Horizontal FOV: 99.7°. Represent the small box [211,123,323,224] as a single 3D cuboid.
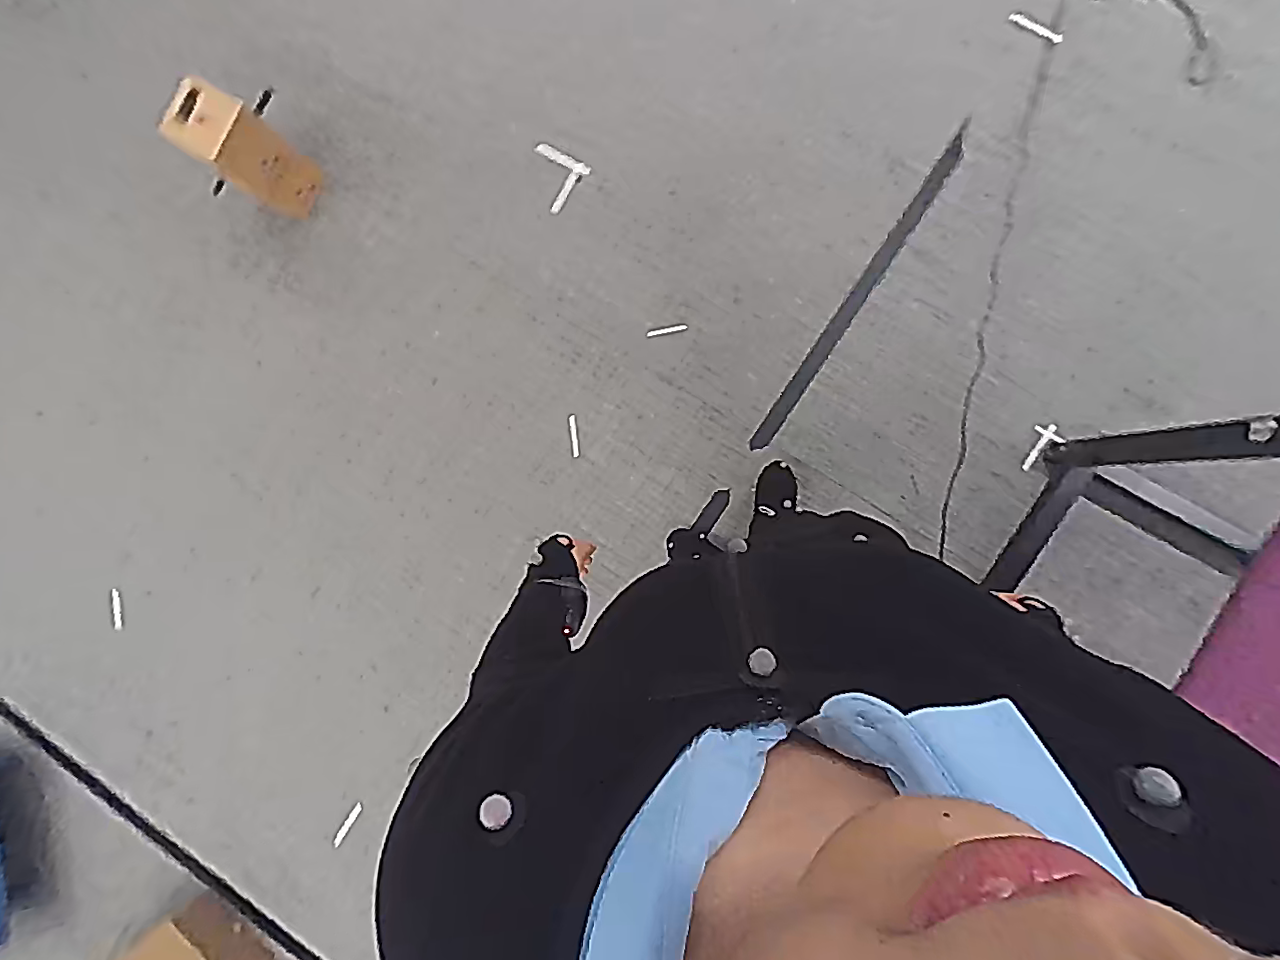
[{"bbox_3d":[-1.078,-0.882,1.575,0.179,0.176,0.168,27,93,6],"label":"small box"}]
